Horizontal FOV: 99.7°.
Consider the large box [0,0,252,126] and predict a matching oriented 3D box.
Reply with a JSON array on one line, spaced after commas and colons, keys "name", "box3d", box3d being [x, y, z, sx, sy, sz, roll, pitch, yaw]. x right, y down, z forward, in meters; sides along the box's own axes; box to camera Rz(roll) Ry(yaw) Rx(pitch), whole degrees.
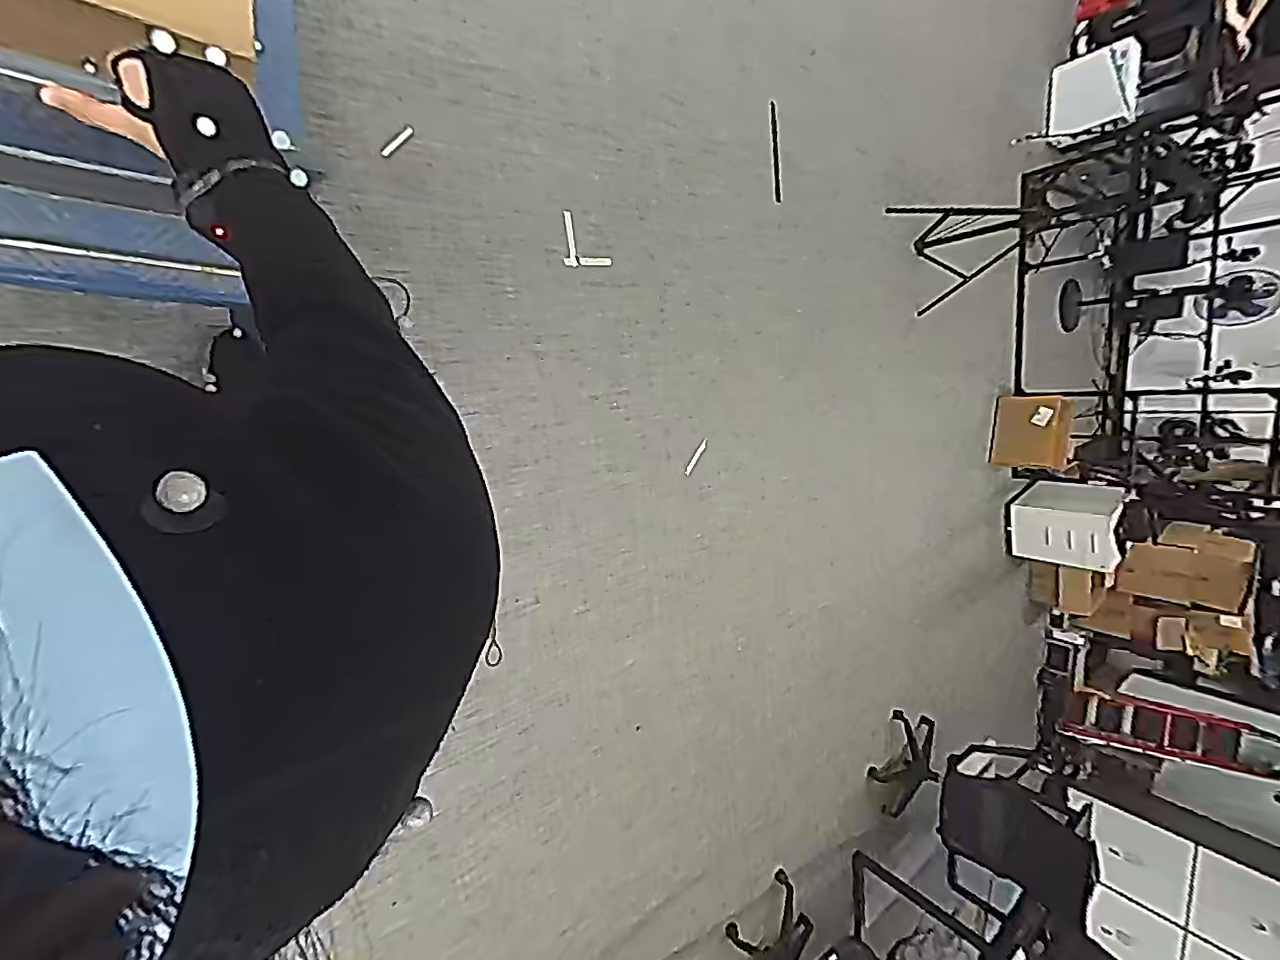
[{"name": "large box", "box3d": [-0.826, -0.796, 0.789, 0.408, 0.320, 0.320, -3, 97, -36]}]
